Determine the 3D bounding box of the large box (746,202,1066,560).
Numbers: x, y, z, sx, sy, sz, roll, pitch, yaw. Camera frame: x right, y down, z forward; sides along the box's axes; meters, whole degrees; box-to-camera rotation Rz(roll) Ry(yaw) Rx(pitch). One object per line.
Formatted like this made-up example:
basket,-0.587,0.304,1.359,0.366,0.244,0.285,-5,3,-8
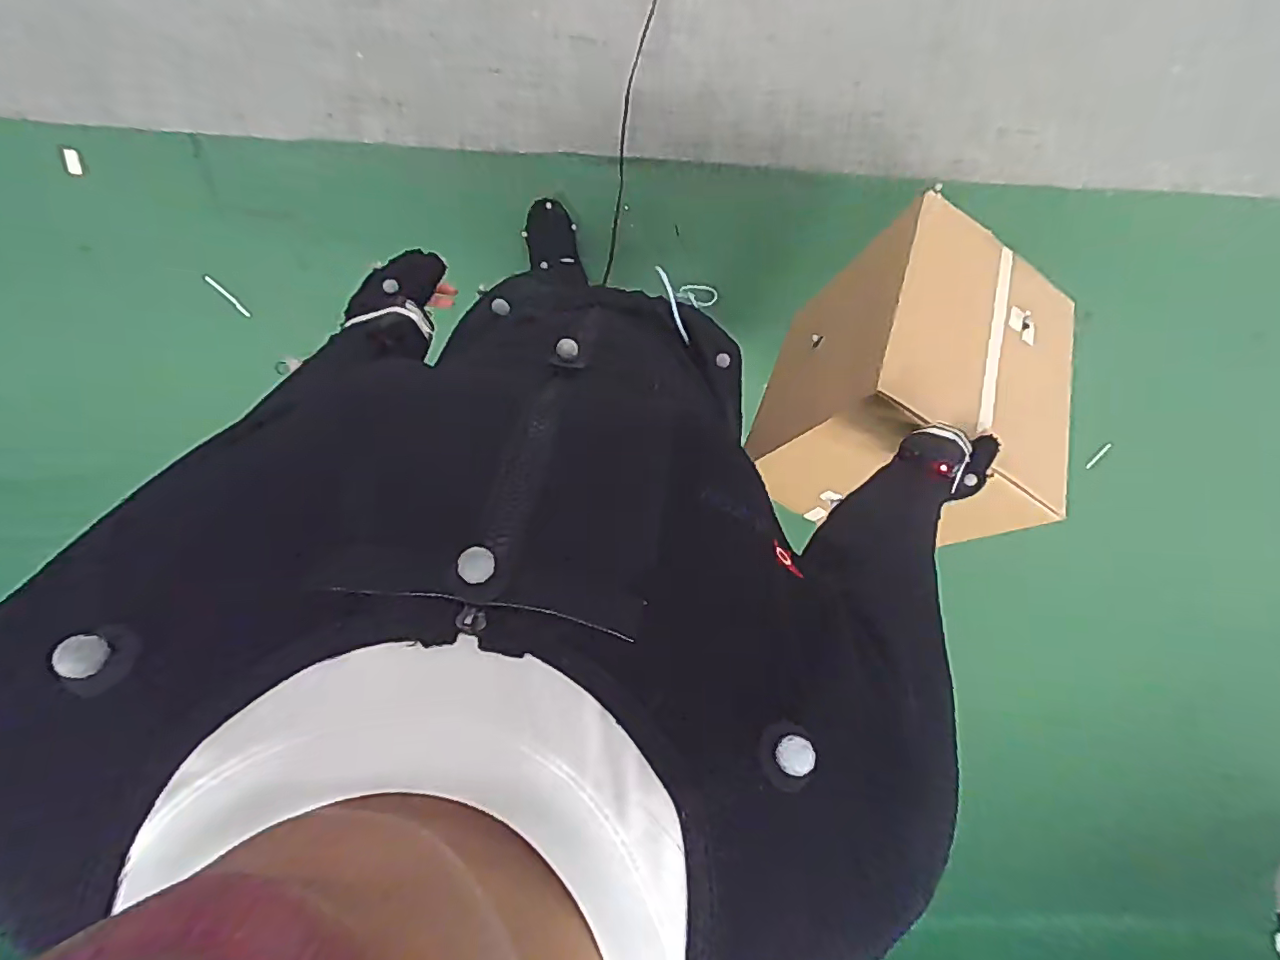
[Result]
large box,0.423,-0.134,0.876,0.320,0.408,0.320,31,153,-11
